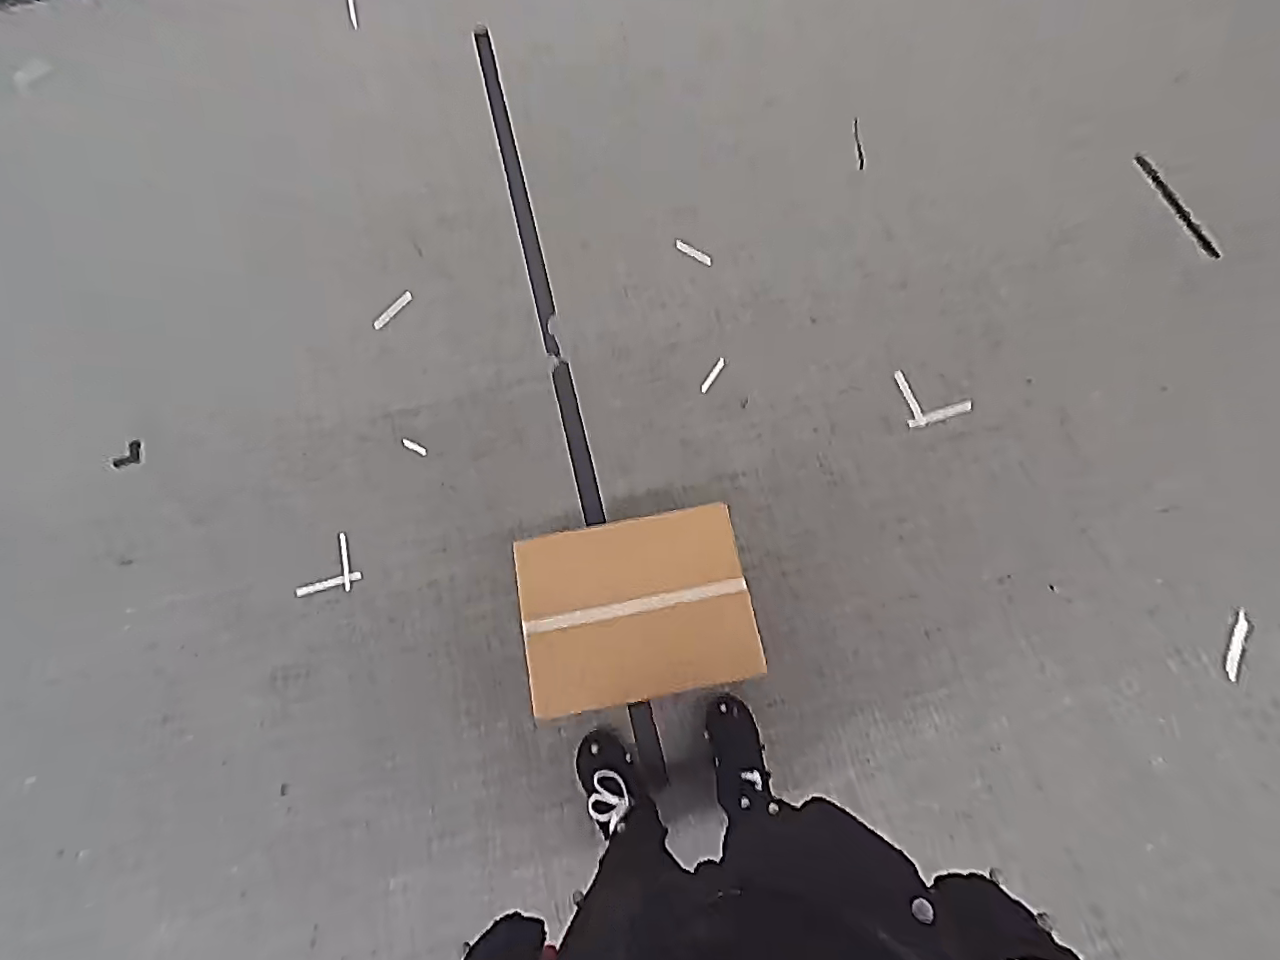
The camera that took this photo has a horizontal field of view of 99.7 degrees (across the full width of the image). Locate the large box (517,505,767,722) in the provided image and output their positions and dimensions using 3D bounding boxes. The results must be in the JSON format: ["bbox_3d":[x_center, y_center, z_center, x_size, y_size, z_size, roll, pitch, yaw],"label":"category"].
[{"bbox_3d":[0.000,0.270,1.104,0.408,0.320,0.320,-11,72,-2],"label":"large box"}]
